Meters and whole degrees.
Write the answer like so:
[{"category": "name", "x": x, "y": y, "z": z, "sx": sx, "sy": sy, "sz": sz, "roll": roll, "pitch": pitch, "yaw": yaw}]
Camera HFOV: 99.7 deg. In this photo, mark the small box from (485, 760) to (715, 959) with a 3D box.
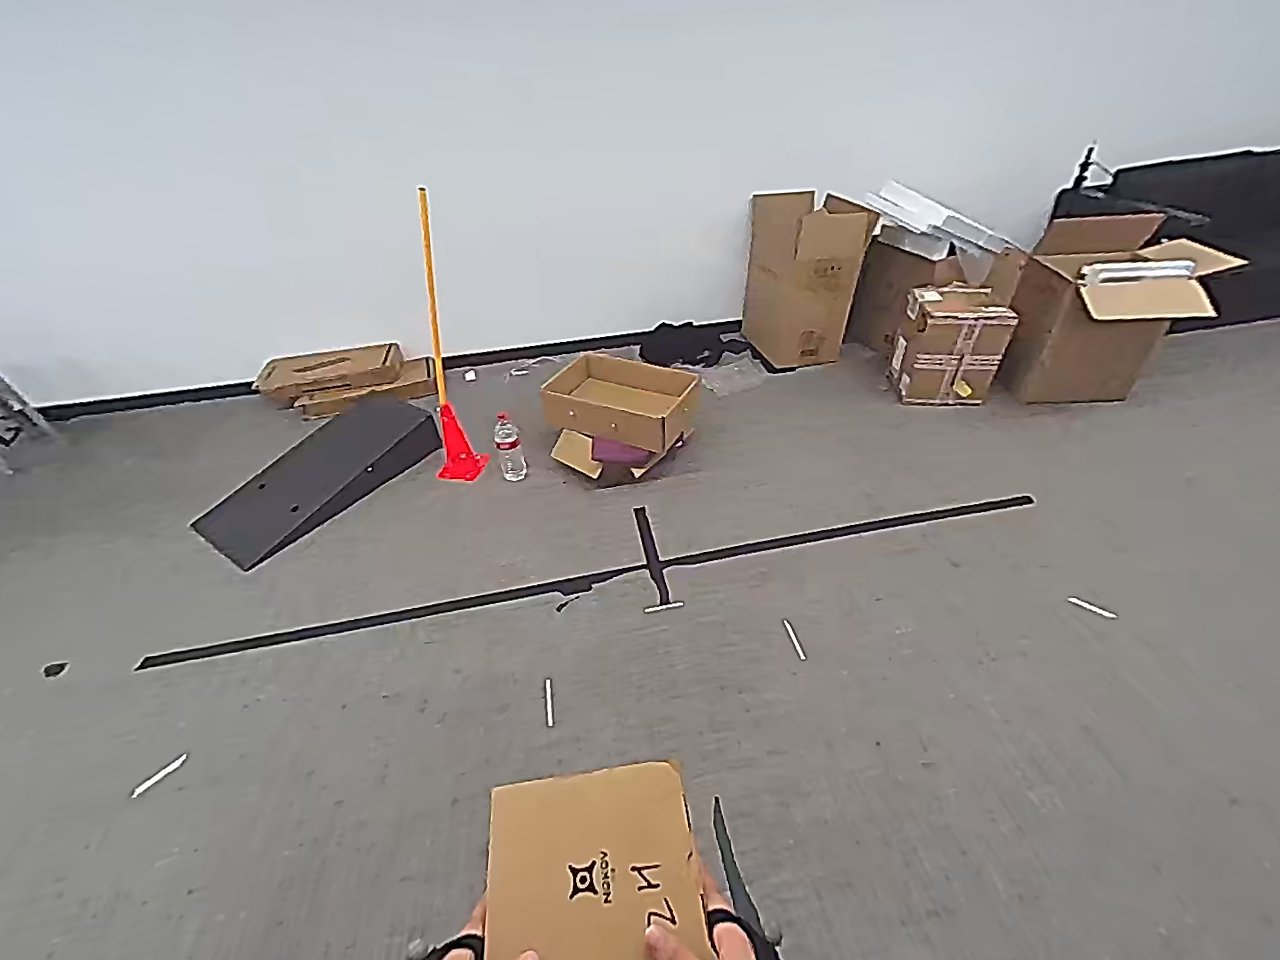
[{"category": "small box", "x": -0.035, "y": 0.385, "z": 0.499, "sx": 0.179, "sy": 0.176, "sz": 0.168, "roll": -6, "pitch": 45, "yaw": -5}]
